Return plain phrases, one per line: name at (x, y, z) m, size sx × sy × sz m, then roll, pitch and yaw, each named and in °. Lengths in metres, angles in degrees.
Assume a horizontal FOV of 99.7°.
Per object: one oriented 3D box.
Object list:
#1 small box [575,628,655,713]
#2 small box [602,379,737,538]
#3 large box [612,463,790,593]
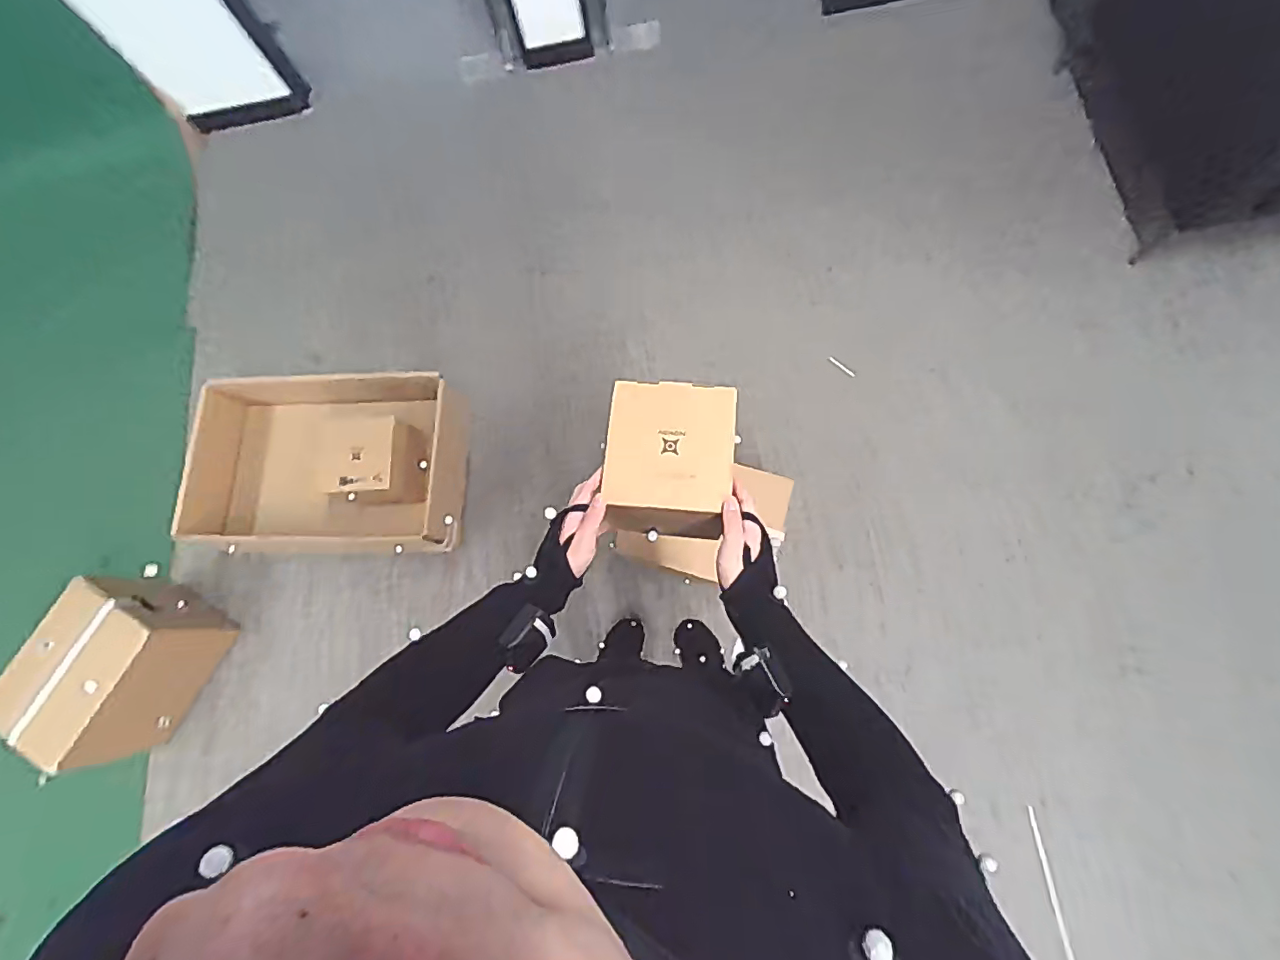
small box at (-0.073, 0.543, 1.544) m, size 0.168 × 0.176 × 0.179 m, roll -29°, pitch 66°, yaw -6°
small box at (0.042, -0.024, 0.771) m, size 0.168 × 0.176 × 0.179 m, roll 4°, pitch 73°, yaw 4°
large box at (0.173, 0.121, 1.535) m, size 0.408 × 0.320 × 0.320 m, roll 15°, pitch 78°, yaw 9°
